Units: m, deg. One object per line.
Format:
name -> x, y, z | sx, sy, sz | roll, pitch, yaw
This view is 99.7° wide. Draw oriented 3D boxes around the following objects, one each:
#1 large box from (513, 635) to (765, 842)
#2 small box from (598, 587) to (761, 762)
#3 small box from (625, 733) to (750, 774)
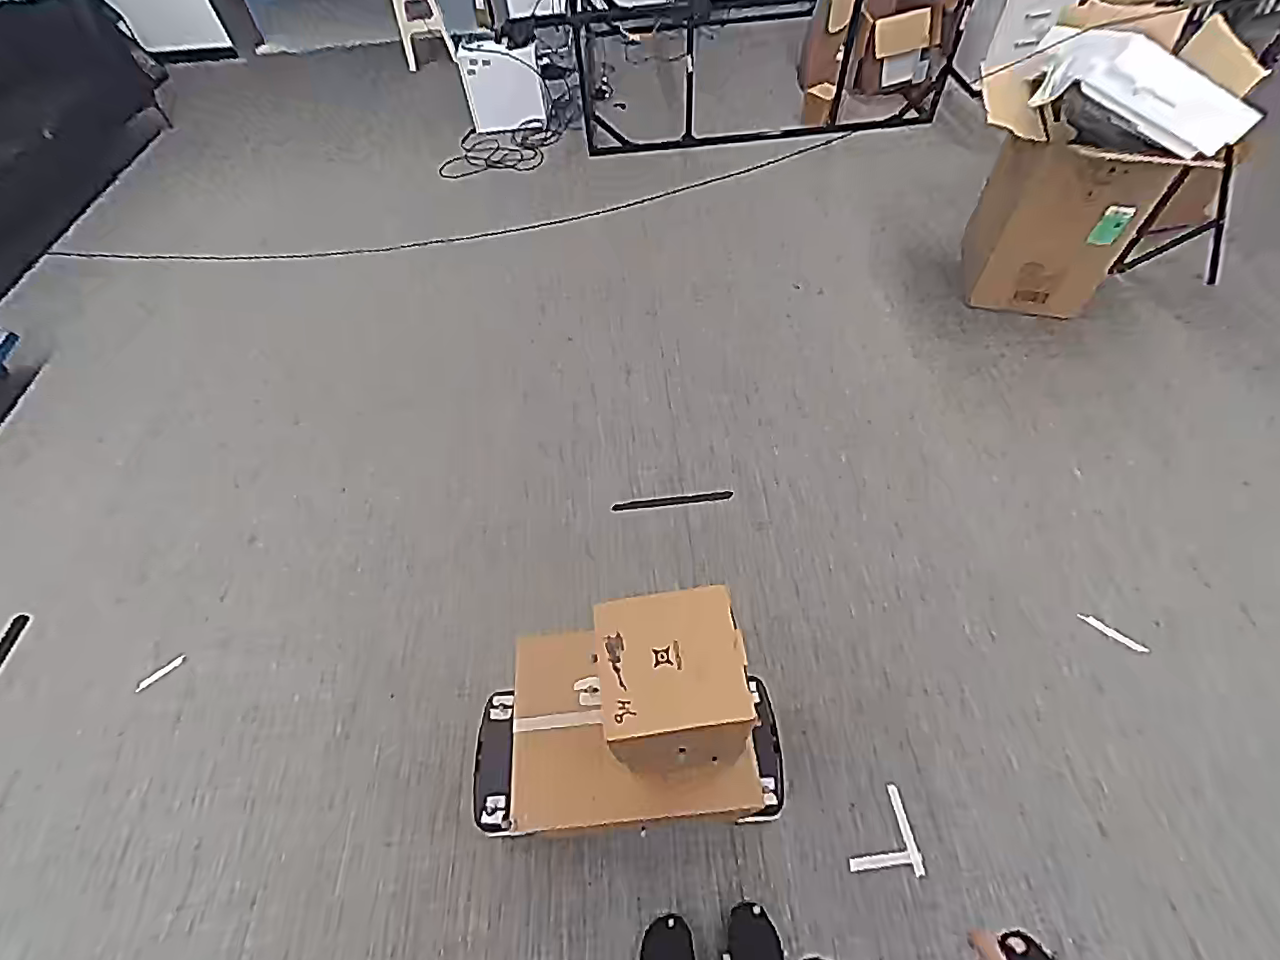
large box -> -0.003, 0.493, 1.045 | 0.408, 0.320, 0.320 | -7, 54, 1
small box -> 0.044, 0.257, 0.707 | 0.179, 0.176, 0.168 | -7, 53, -2
small box -> 0.060, 0.349, 0.842 | 0.179, 0.176, 0.168 | -7, 54, 0
